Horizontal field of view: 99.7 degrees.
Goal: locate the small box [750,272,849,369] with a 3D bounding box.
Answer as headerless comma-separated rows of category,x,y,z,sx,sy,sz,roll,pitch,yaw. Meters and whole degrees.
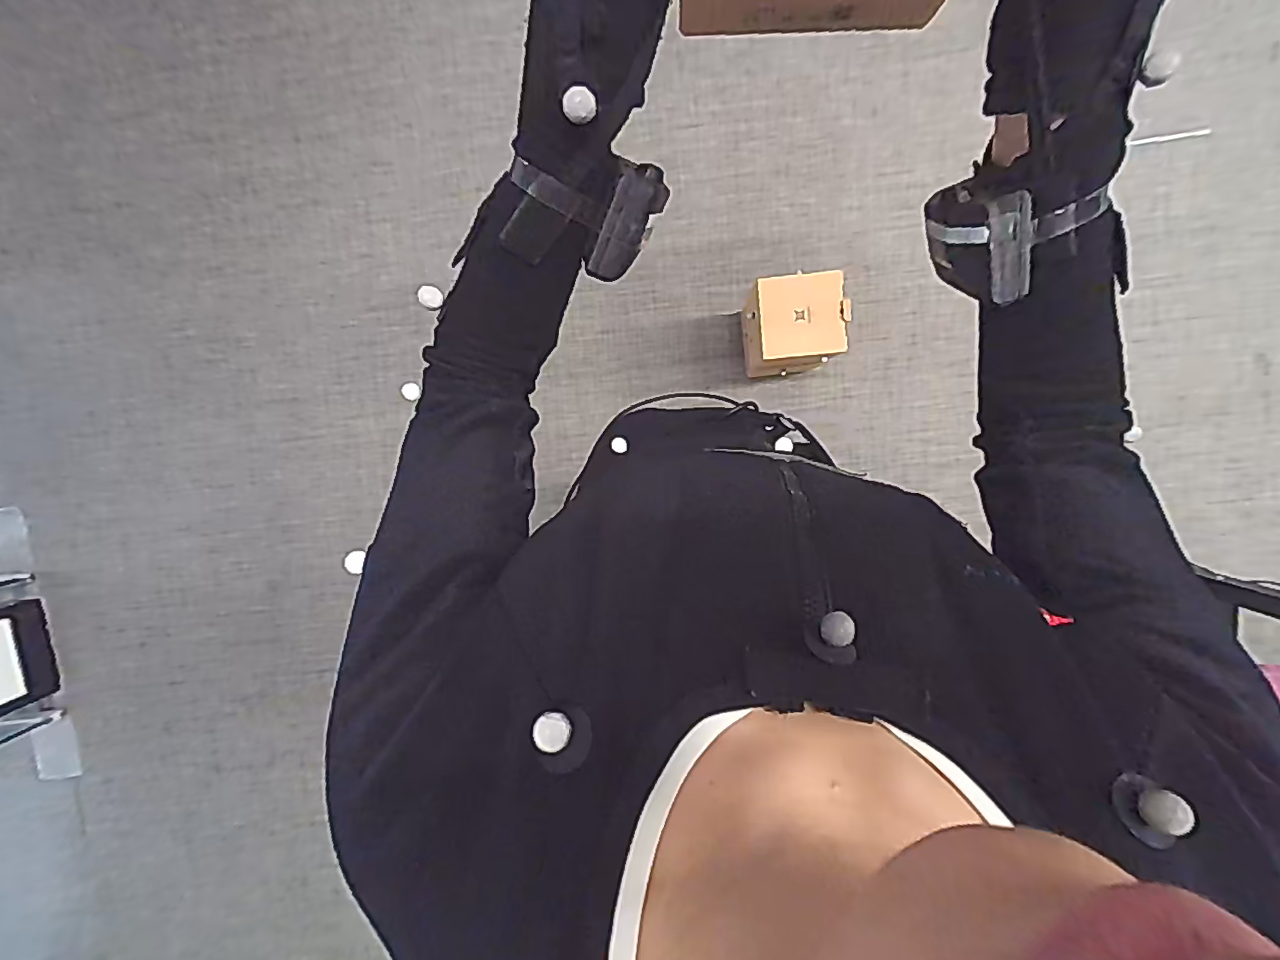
small box,0.339,-0.340,1.182,0.179,0.176,0.168,-6,95,3
